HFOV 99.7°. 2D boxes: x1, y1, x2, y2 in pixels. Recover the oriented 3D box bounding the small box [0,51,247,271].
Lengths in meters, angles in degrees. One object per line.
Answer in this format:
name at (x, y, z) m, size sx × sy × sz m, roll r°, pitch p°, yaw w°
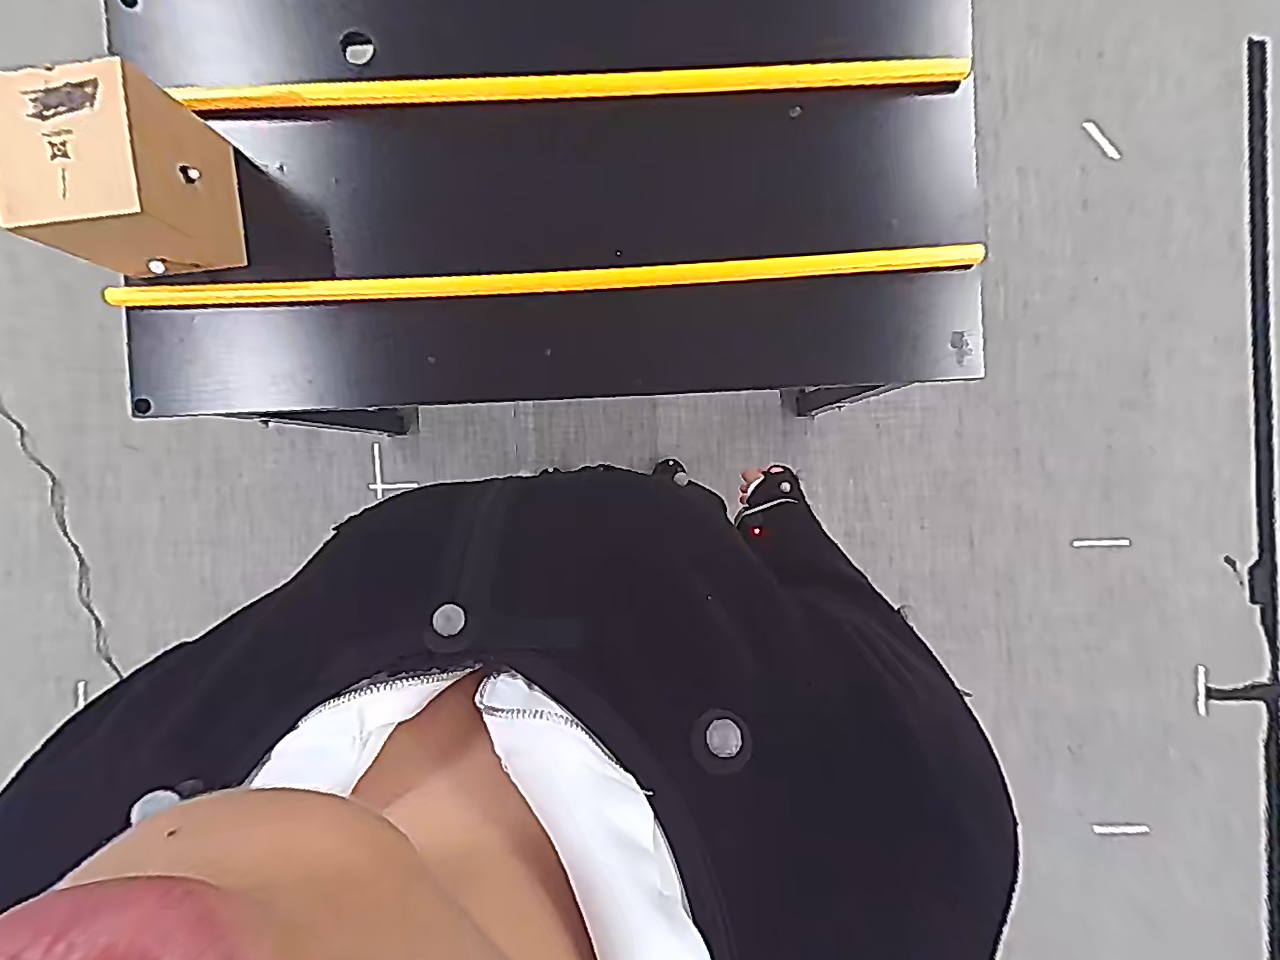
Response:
small box at (-0.641, -0.386, 0.682) m, size 0.168 × 0.176 × 0.179 m, roll -6°, pitch 92°, yaw 0°
